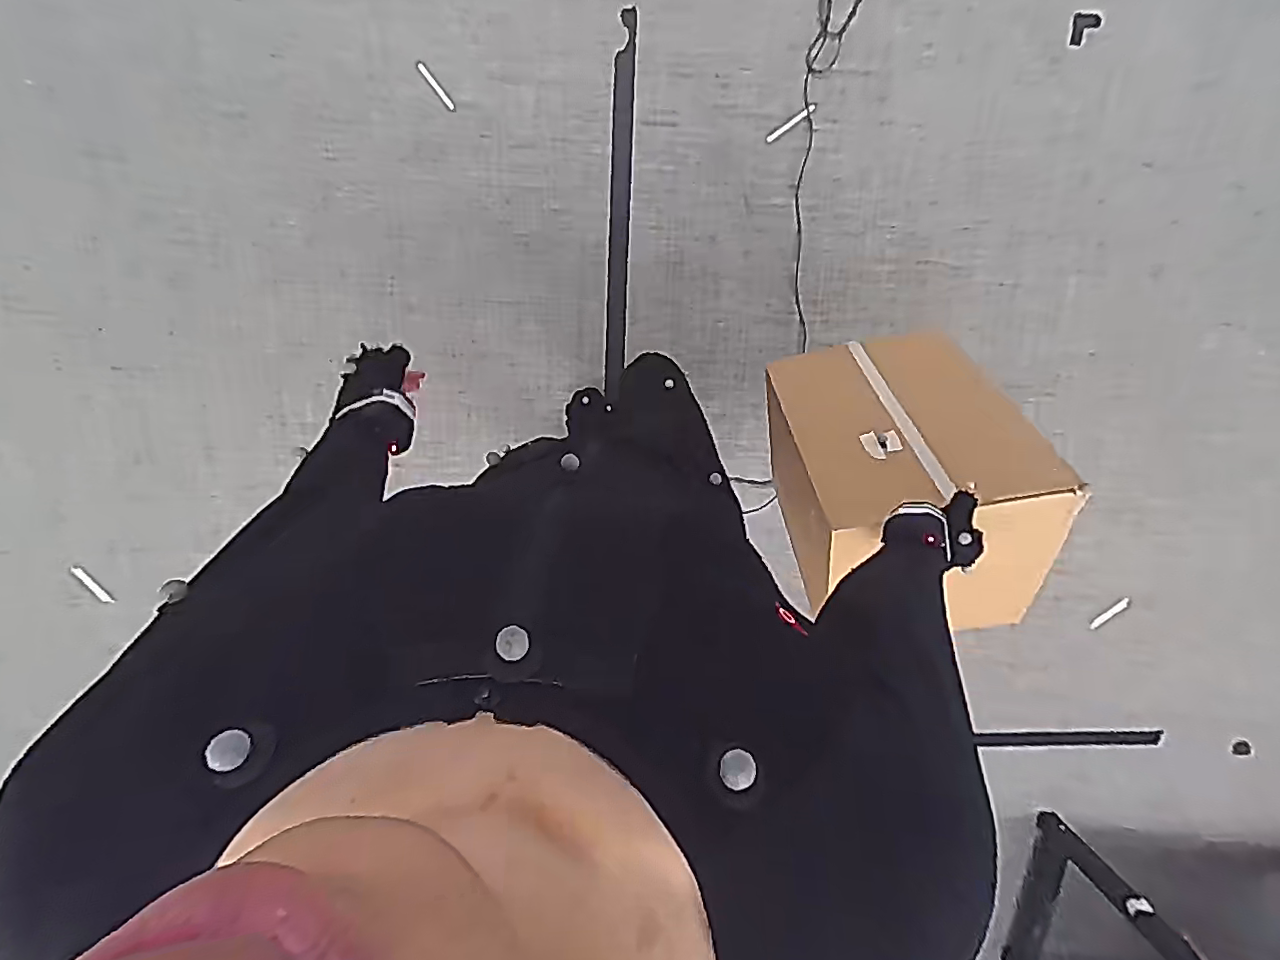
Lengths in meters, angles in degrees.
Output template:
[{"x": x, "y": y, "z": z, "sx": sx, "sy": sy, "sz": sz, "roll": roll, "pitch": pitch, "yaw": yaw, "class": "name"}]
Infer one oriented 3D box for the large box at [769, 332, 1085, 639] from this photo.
[{"x": 0.425, "y": 0.005, "z": 0.935, "sx": 0.320, "sy": 0.408, "sz": 0.320, "roll": -11, "pitch": 135, "yaw": 6, "class": "large box"}]
